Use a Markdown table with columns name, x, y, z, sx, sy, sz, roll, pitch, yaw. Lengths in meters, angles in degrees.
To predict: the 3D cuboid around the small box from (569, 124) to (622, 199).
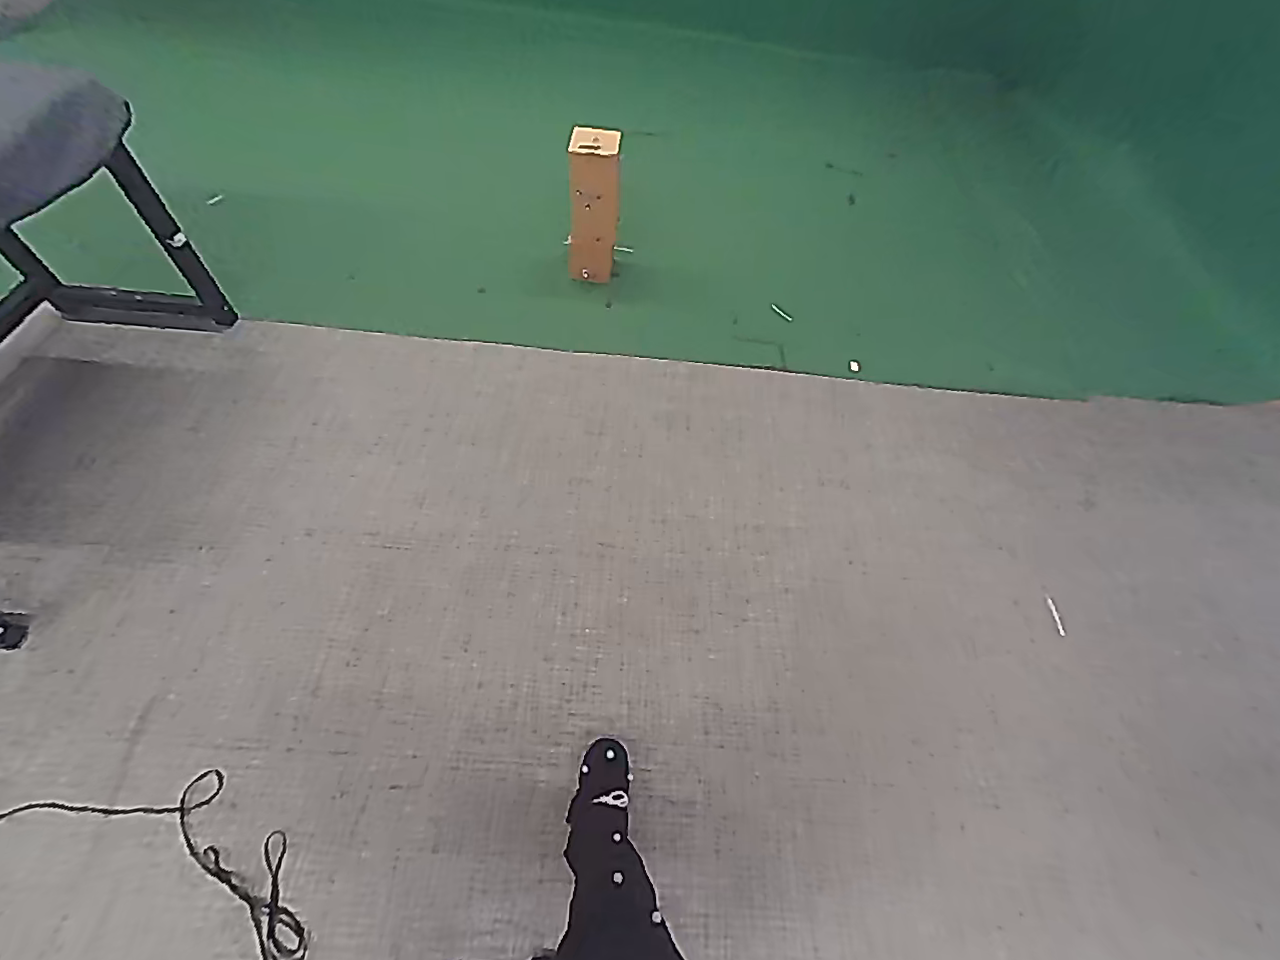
| name | x | y | z | sx | sy | sz | roll | pitch | yaw |
| --- | --- | --- | --- | --- | --- | --- | --- | --- | --- |
| small box | -0.153 | -1.117 | 1.904 | 0.168 | 0.176 | 0.179 | 5 | 56 | -2 |

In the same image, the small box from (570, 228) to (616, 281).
| name | x | y | z | sx | sy | sz | roll | pitch | yaw |
| --- | --- | --- | --- | --- | --- | --- | --- | --- | --- |
| small box | -0.186 | -0.934 | 2.175 | 0.168 | 0.176 | 0.179 | 5 | 58 | -2 |

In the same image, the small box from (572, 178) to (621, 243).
| name | x | y | z | sx | sy | sz | roll | pitch | yaw |
| --- | --- | --- | --- | --- | --- | --- | --- | --- | --- |
| small box | -0.164 | -1.027 | 2.042 | 0.168 | 0.176 | 0.179 | 5 | 55 | -2 |
